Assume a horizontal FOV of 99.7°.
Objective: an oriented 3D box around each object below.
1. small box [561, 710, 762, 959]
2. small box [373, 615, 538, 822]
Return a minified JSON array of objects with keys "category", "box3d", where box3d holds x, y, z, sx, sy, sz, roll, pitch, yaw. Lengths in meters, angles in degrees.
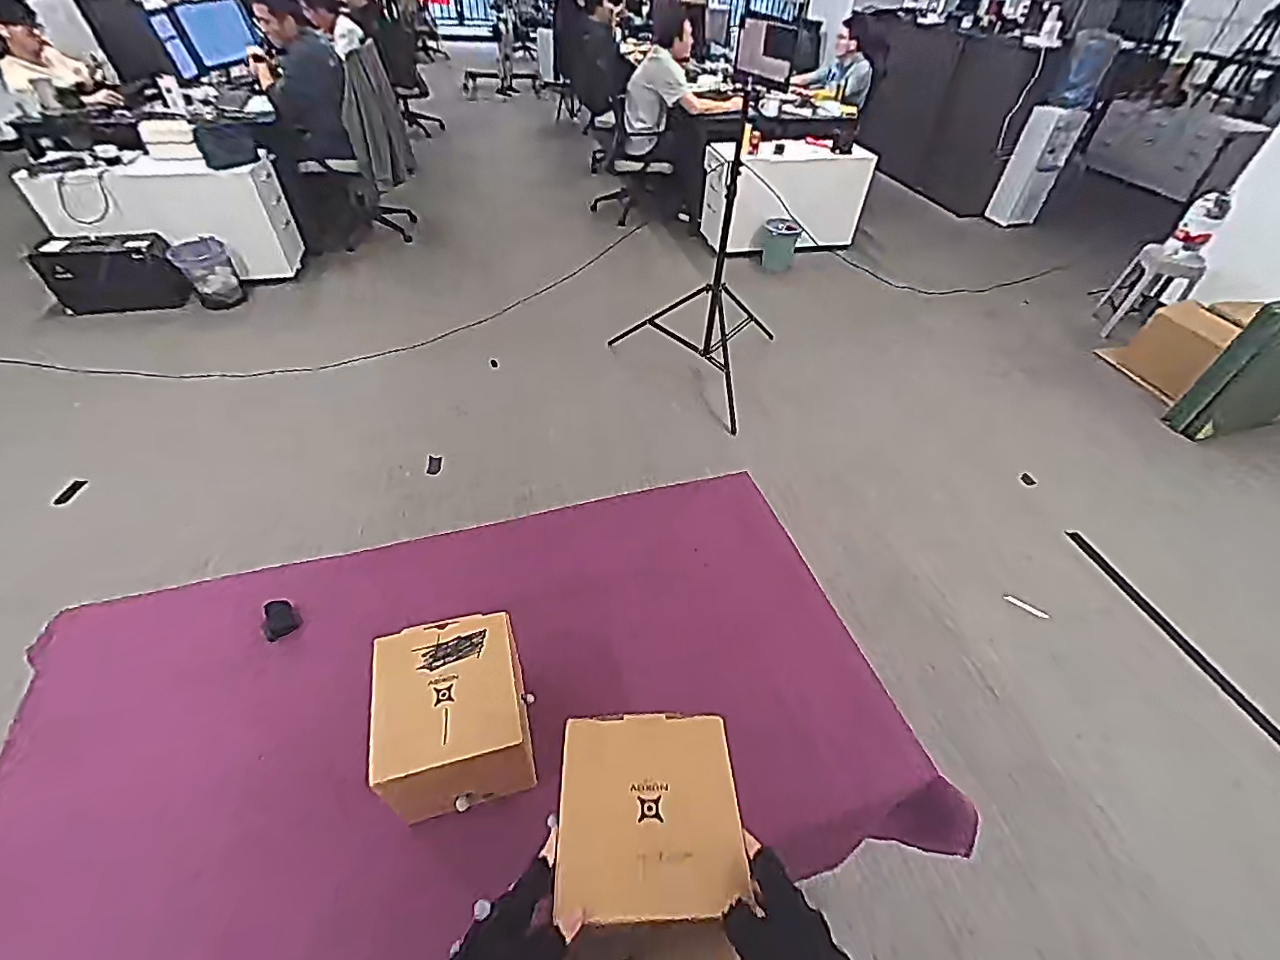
[{"category":"small box","box3d":[0.012,0.359,0.544,0.168,0.176,0.179,-1,35,-3]},{"category":"small box","box3d":[-0.232,0.308,0.702,0.168,0.176,0.179,-10,47,-13]}]
